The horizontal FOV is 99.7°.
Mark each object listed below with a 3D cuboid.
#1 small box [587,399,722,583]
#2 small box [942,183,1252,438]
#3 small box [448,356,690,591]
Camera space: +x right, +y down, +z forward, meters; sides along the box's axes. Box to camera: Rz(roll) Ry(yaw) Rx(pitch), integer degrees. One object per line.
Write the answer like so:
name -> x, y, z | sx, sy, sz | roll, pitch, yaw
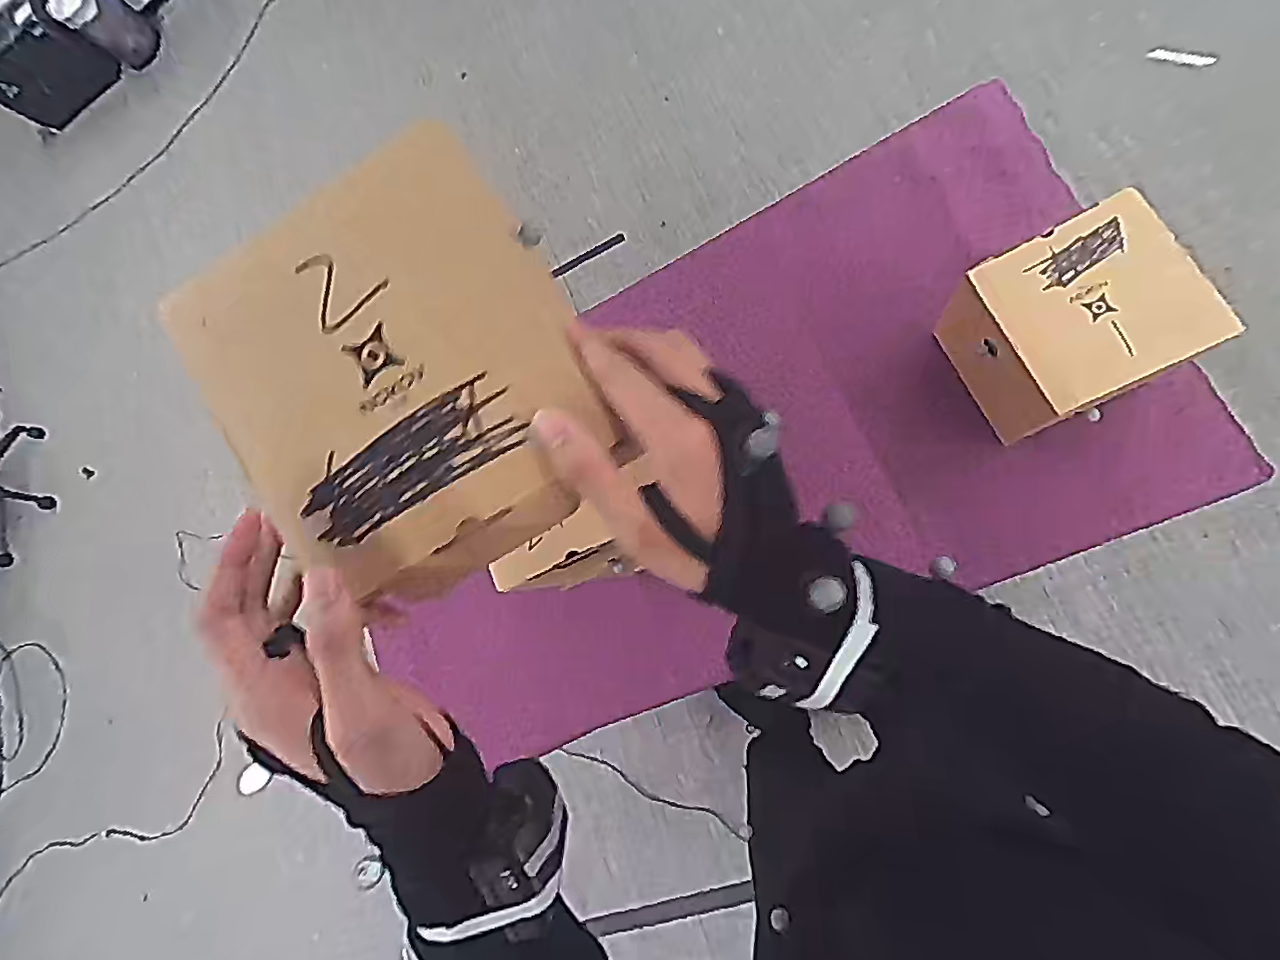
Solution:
small box -> -0.005, 0.021, 0.727 | 0.168, 0.176, 0.179 | -29, 75, 12
small box -> 0.466, -0.167, 0.594 | 0.168, 0.176, 0.179 | -28, 76, 14
small box -> -0.065, 0.004, 0.574 | 0.168, 0.176, 0.179 | -27, 76, 13
